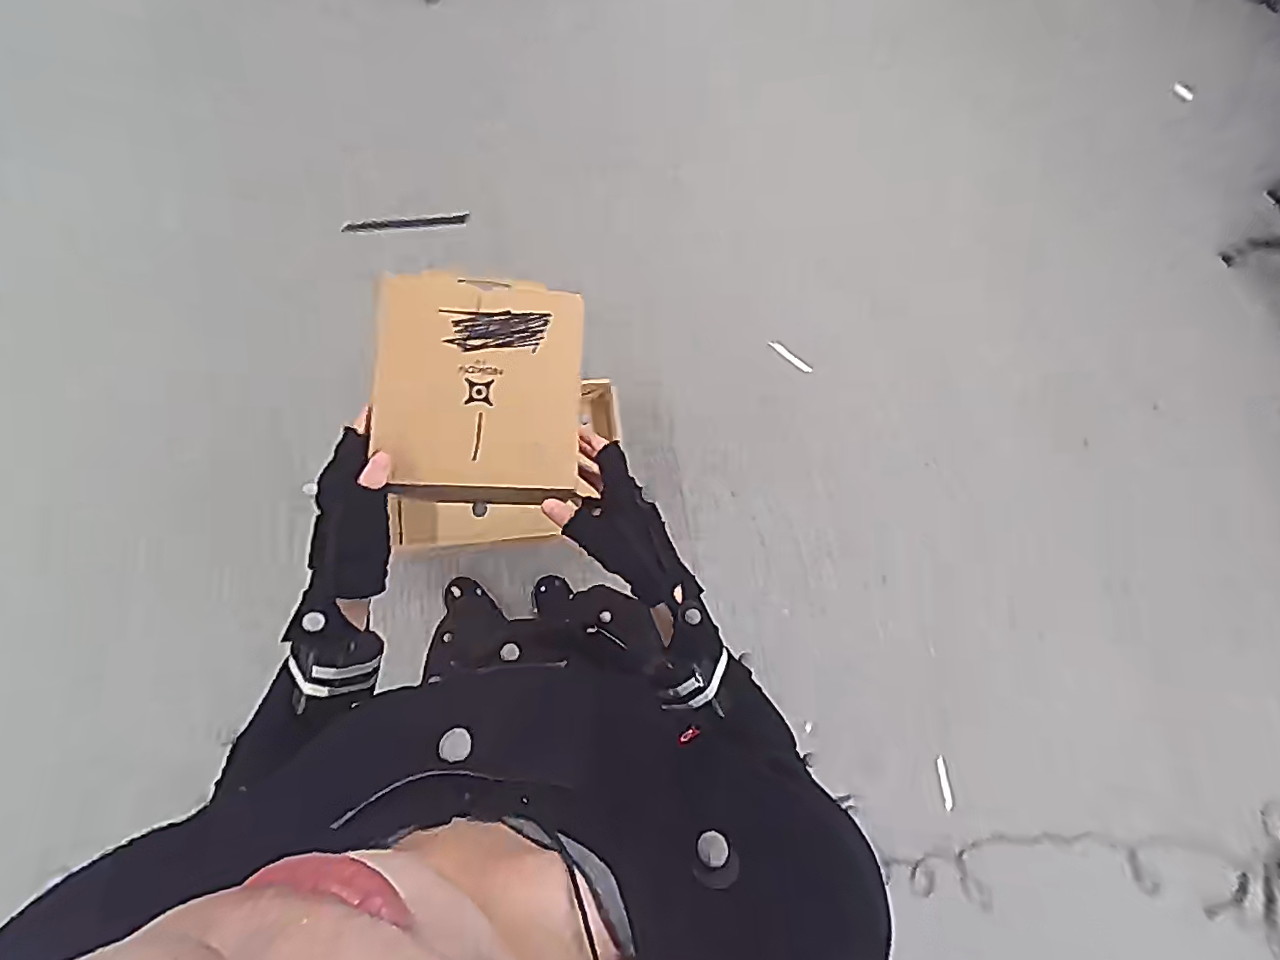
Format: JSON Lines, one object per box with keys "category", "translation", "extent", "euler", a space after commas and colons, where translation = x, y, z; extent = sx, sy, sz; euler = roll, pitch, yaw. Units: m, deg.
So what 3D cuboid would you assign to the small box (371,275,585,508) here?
{"category": "small box", "translation": [-0.146, -0.070, 0.525], "extent": [0.168, 0.176, 0.179], "euler": [1, 82, -12]}
